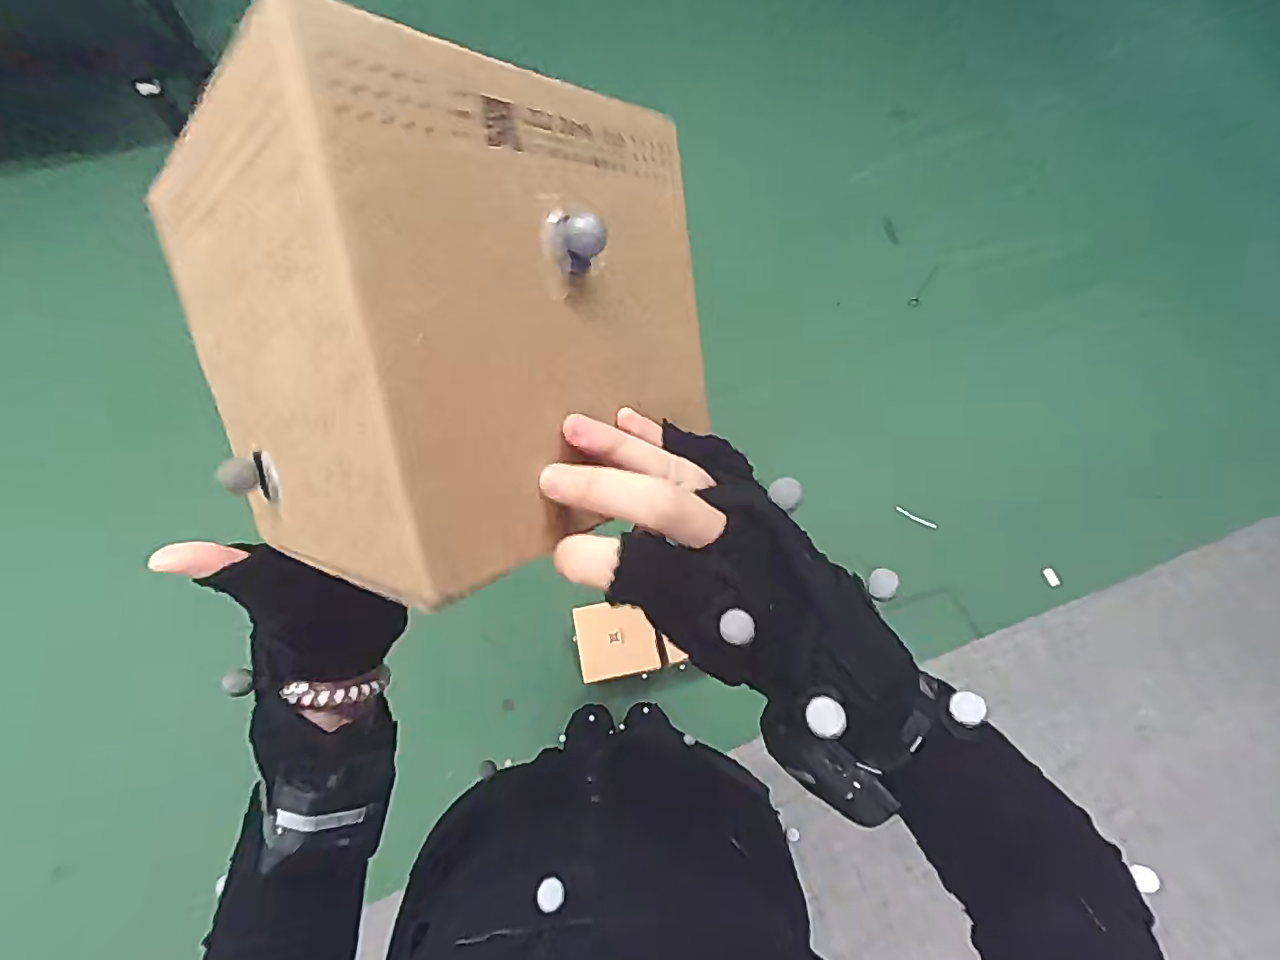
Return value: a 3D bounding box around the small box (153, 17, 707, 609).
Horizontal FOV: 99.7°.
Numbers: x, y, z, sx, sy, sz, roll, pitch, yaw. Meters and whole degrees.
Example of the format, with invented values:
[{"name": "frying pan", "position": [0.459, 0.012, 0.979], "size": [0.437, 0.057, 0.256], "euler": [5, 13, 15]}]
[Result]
[{"name": "small box", "position": [-0.091, -0.066, 0.260], "size": [0.168, 0.179, 0.176], "euler": [-28, 113, -44]}]
